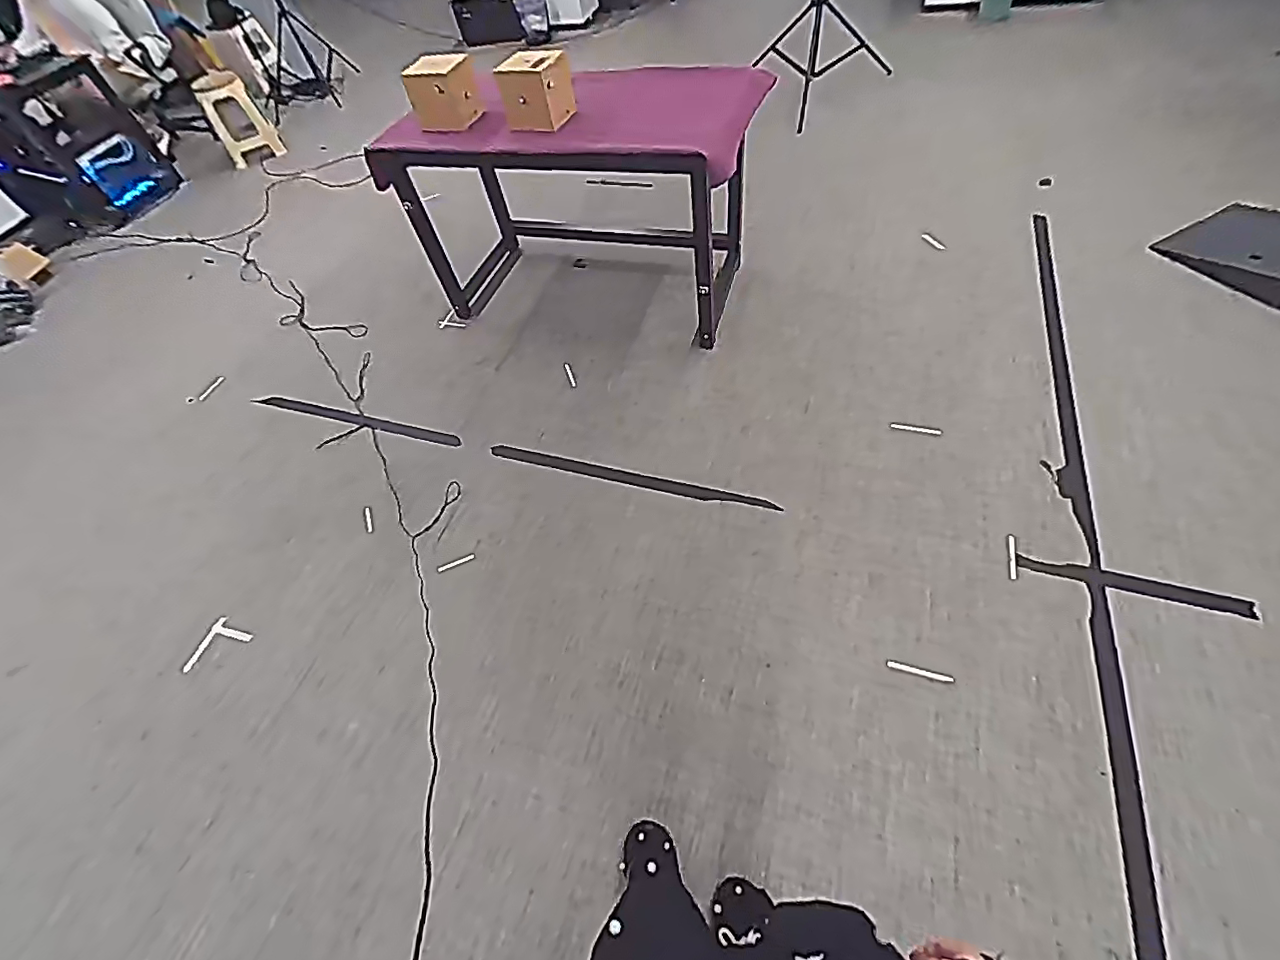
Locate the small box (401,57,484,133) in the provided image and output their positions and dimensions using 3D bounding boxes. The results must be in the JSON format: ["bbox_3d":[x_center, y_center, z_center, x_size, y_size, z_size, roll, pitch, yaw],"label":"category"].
[{"bbox_3d":[-0.657,-1.298,1.827,0.179,0.176,0.168,9,55,15],"label":"small box"}]
